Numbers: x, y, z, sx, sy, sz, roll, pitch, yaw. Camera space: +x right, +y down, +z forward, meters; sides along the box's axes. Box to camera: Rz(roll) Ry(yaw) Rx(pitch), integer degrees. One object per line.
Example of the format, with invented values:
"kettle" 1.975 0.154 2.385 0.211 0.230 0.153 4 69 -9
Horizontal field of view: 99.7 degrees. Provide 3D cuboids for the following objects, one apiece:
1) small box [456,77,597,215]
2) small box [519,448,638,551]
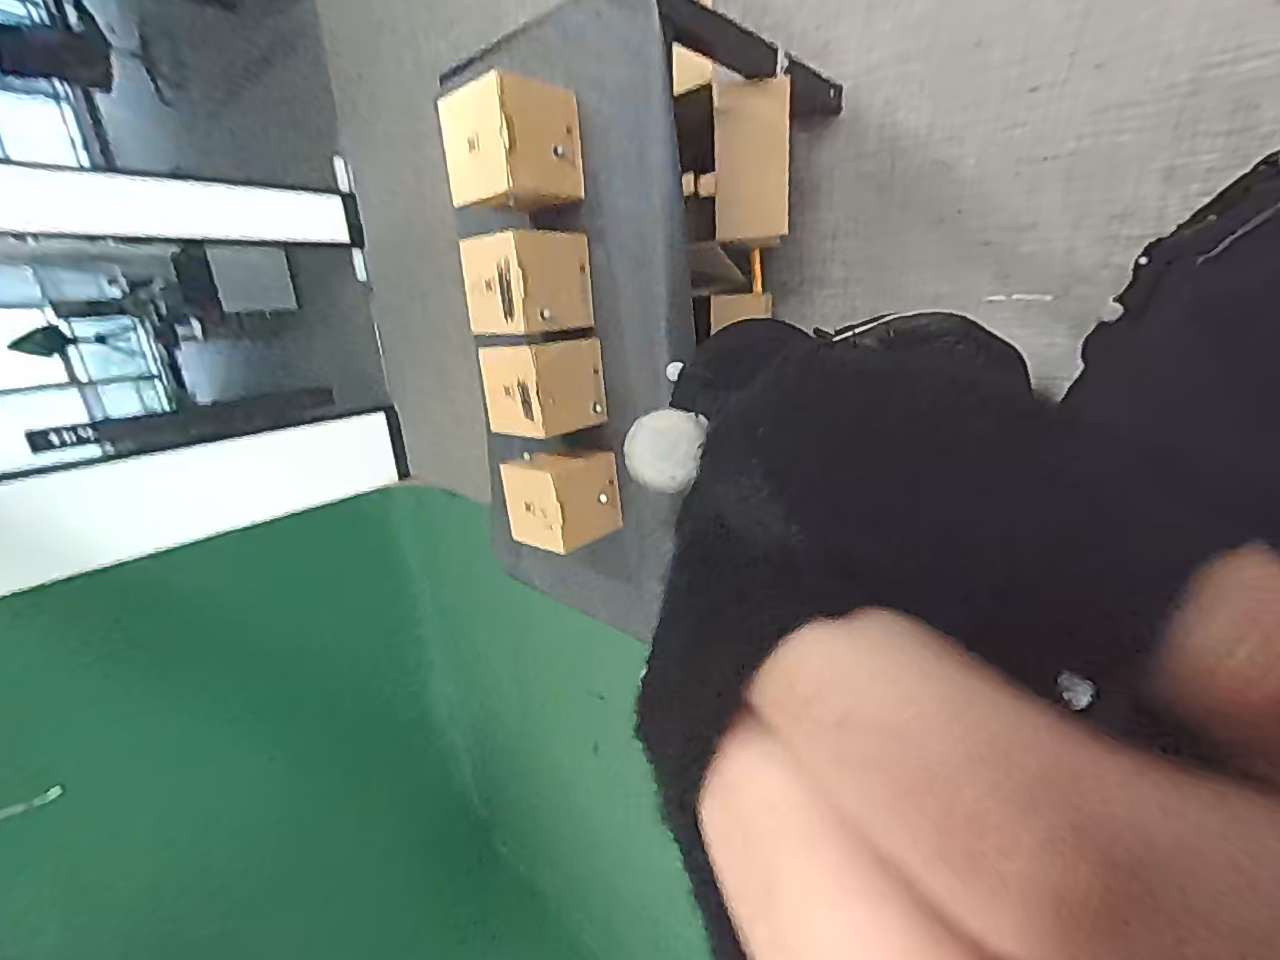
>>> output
"small box" -0.200 -0.582 0.970 0.179 0.176 0.168 11 114 41
"small box" -0.128 0.032 1.144 0.179 0.176 0.168 7 111 43
